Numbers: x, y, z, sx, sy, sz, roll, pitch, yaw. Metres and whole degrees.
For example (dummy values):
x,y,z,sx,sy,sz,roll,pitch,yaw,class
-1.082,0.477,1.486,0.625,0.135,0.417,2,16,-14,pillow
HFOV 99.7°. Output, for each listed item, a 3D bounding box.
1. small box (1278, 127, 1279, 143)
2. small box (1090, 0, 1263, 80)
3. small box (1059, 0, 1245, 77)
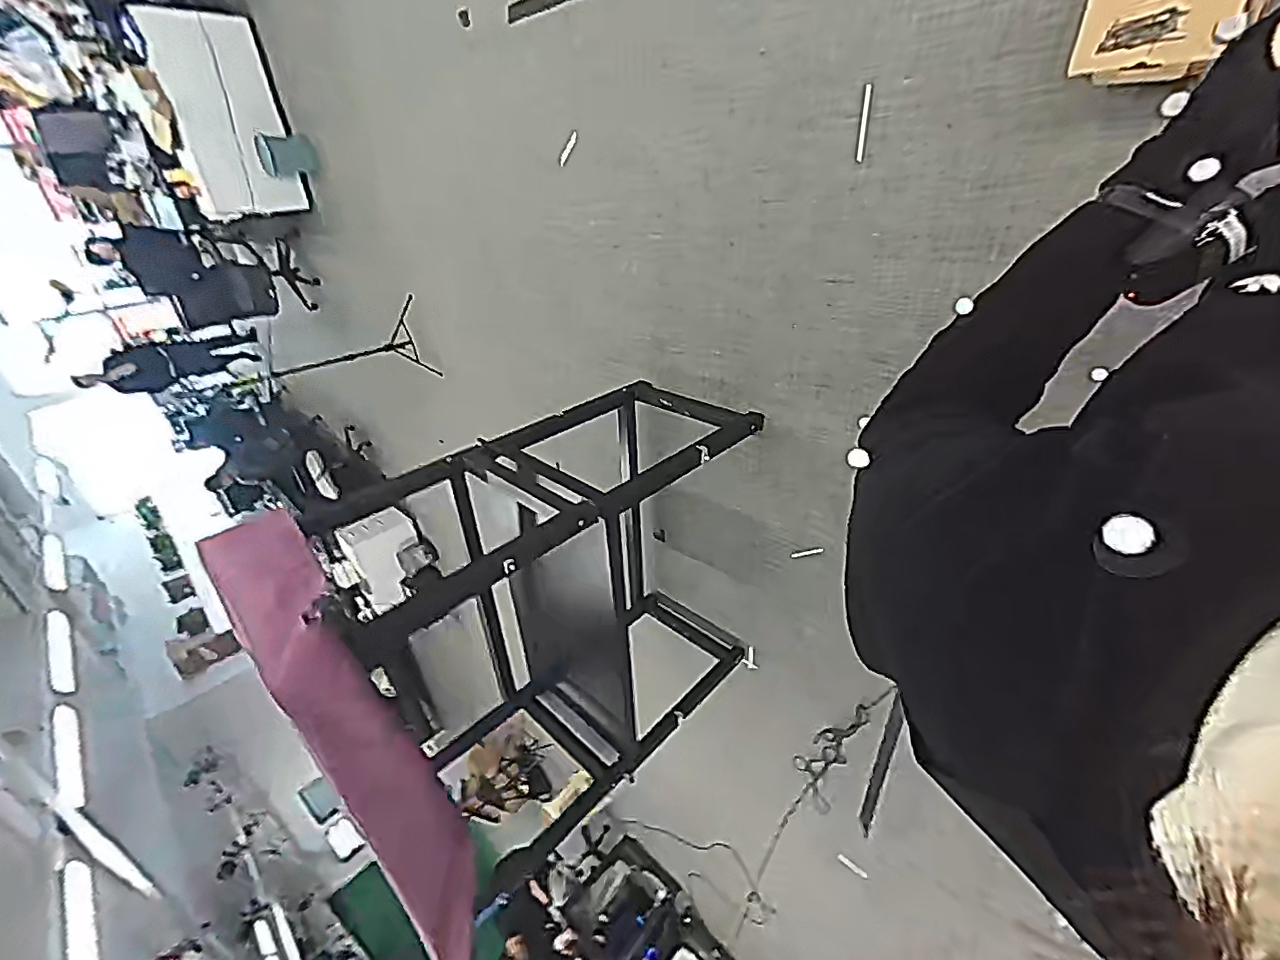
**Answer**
x,y,z,sx,sy,sz,roll,pitch,yaw,class
0.525,-0.282,0.300,0.168,0.176,0.179,29,125,32,small box
0.830,-0.725,0.823,0.179,0.176,0.168,23,129,38,small box
0.711,-0.660,0.730,0.168,0.176,0.179,25,129,36,small box
